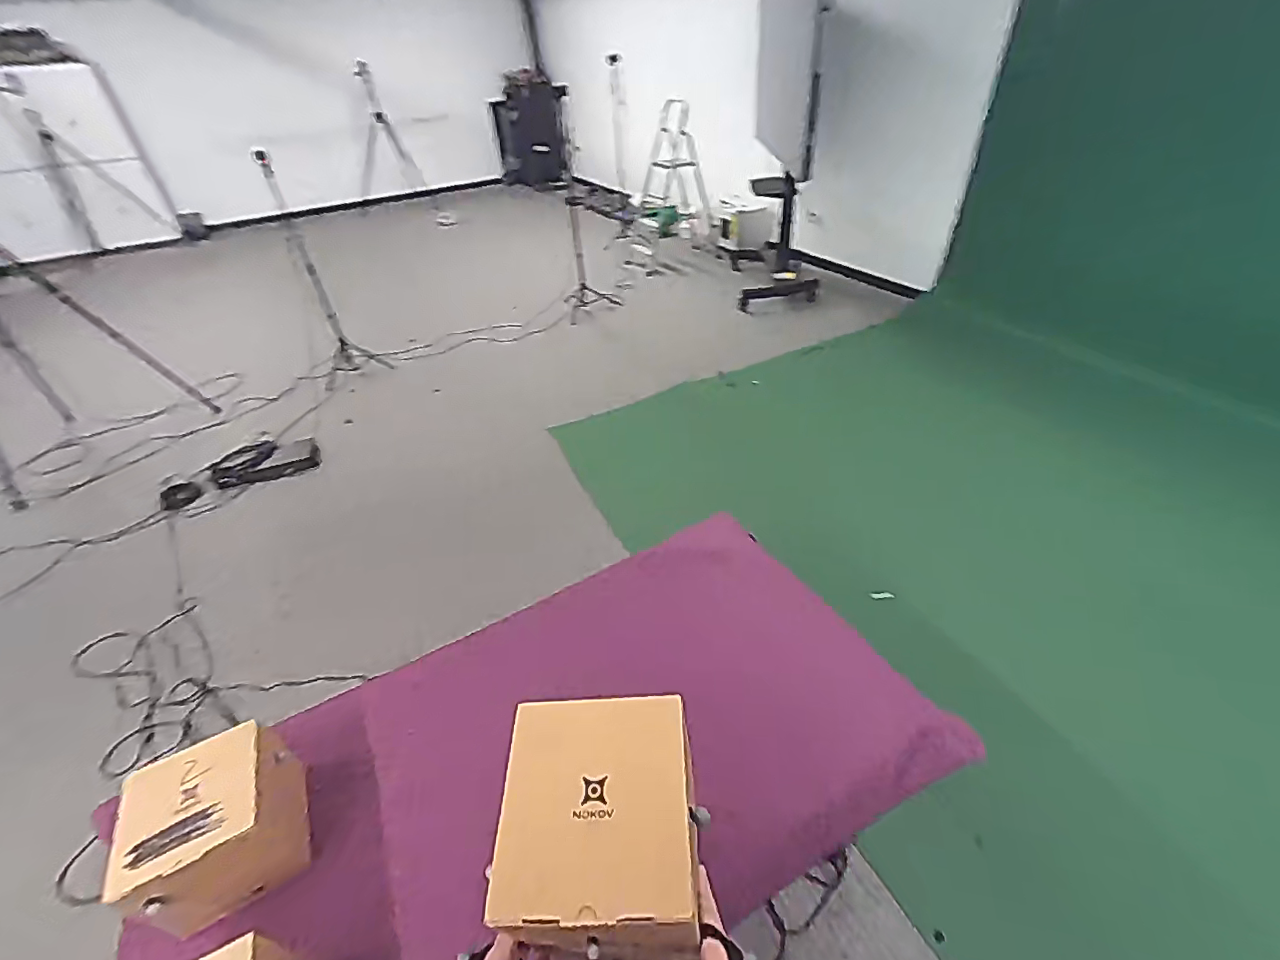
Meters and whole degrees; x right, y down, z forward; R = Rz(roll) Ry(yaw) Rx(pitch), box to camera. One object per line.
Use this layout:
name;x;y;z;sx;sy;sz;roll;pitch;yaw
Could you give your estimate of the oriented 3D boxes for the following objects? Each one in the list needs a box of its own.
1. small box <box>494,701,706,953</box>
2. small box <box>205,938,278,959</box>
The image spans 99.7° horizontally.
small box;-0.024;0.337;0.527;0.168;0.176;0.179;-4;45;4
small box;-0.467;0.651;0.576;0.168;0.176;0.179;-20;40;-19
